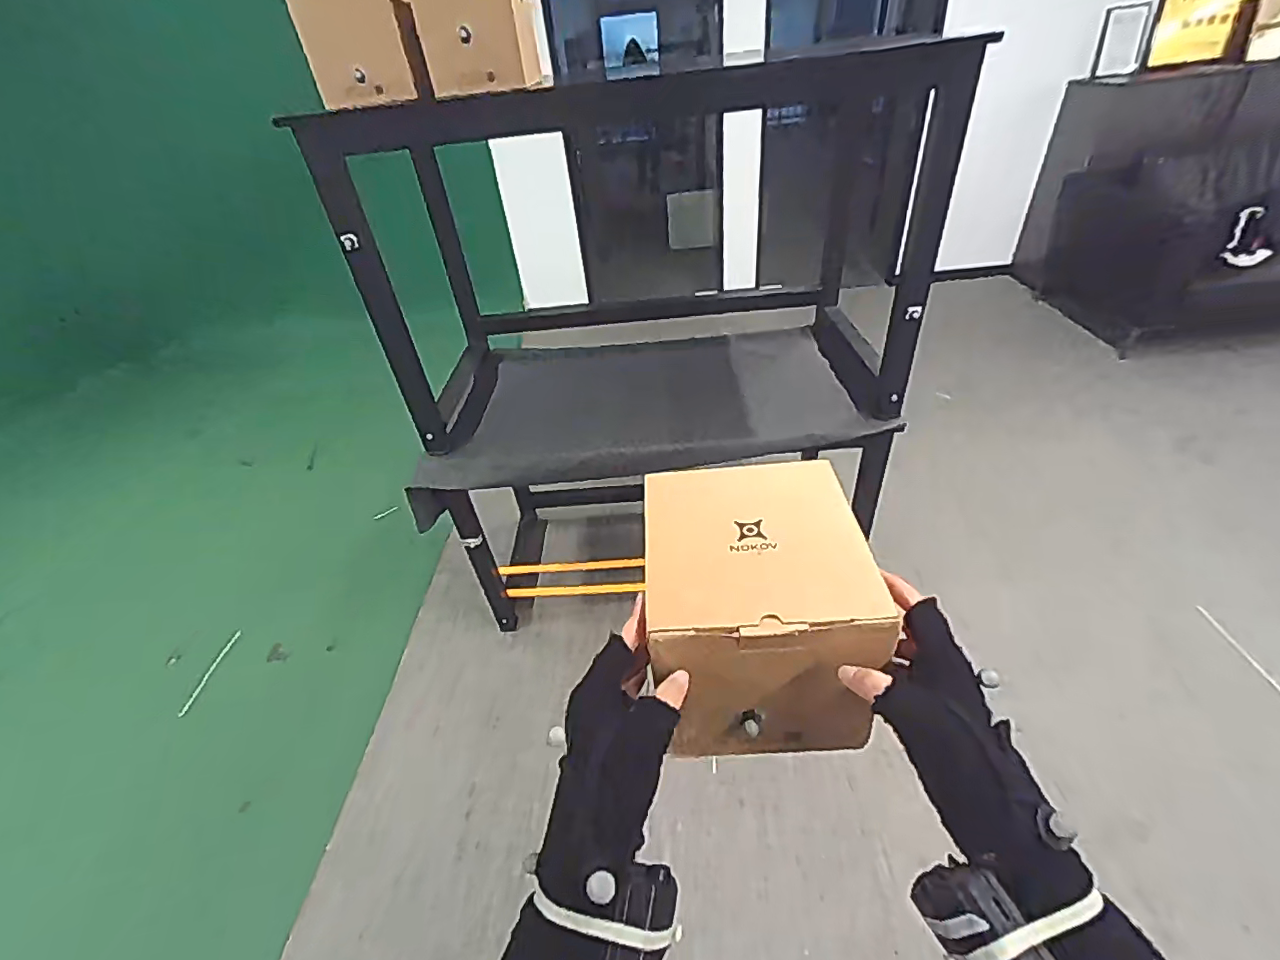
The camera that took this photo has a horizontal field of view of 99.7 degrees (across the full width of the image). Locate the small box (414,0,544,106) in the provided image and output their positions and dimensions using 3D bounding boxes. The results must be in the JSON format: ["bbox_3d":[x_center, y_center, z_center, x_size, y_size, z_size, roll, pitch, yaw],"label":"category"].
[{"bbox_3d":[-0.276,-0.782,0.968,0.168,0.176,0.179,-3,38,4],"label":"small box"}]
